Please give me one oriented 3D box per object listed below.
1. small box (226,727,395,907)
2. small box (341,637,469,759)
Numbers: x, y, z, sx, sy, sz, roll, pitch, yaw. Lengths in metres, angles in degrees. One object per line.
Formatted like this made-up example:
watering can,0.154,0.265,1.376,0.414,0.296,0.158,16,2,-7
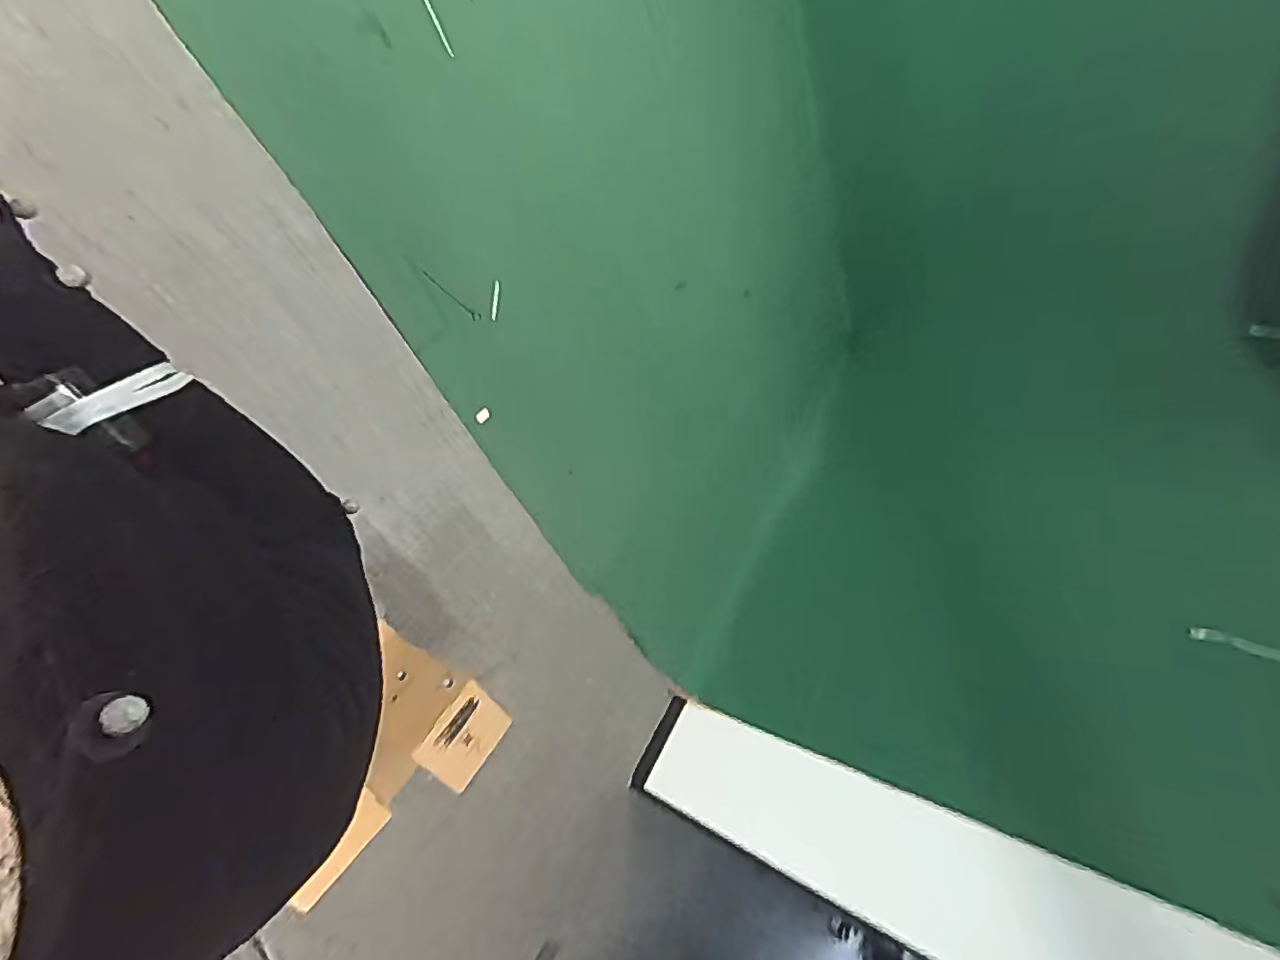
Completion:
small box,-0.576,0.574,0.940,0.179,0.176,0.168,-46,130,-35
small box,-0.535,0.489,1.235,0.168,0.176,0.179,-48,132,-35
